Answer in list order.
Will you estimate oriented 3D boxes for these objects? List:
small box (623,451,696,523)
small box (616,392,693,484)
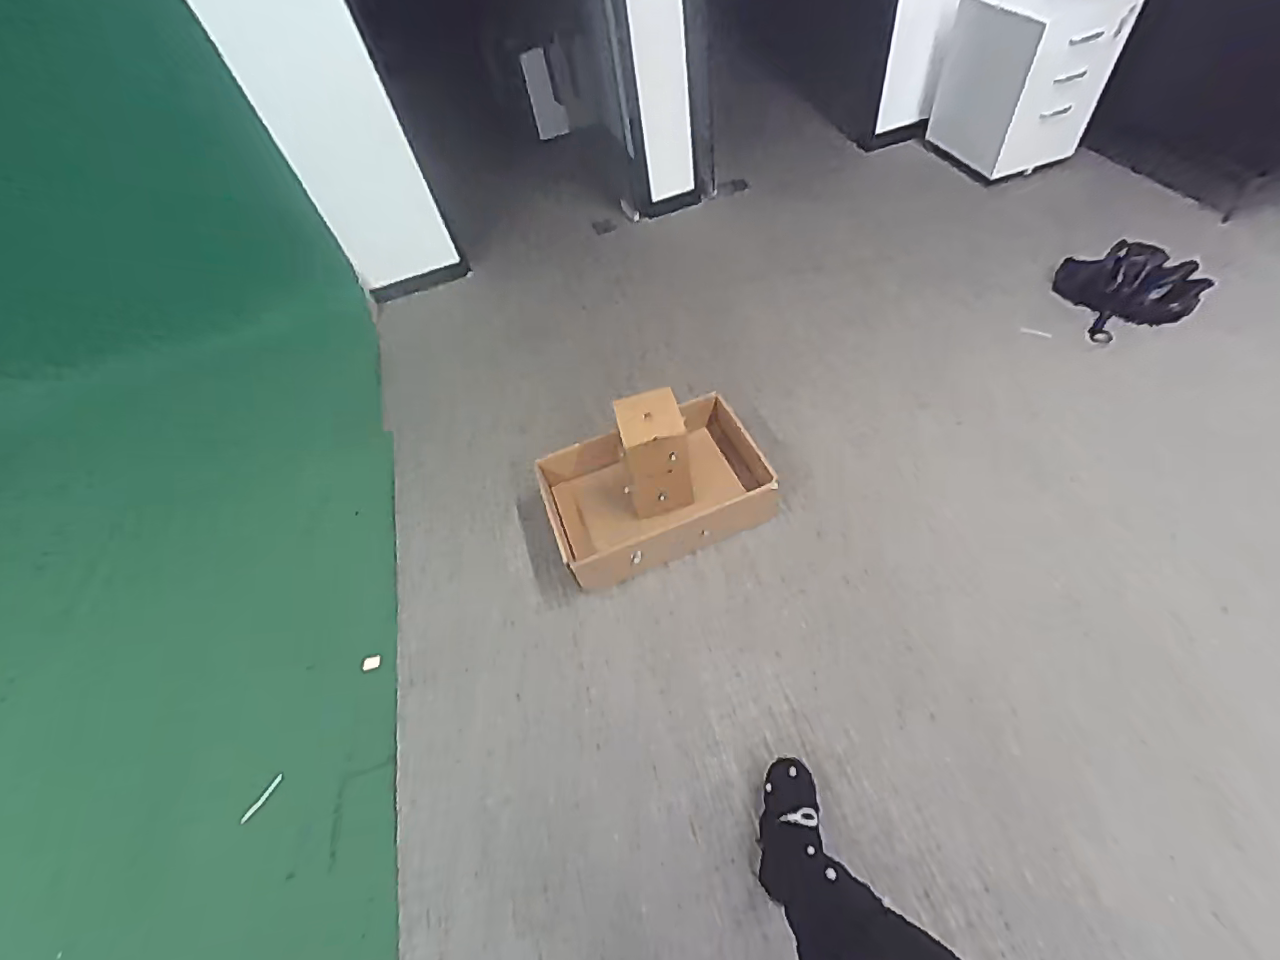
[{"bbox_3d":[0.064,0.003,1.619,0.179,0.176,0.168,-18,51,1],"label":"small box"},{"bbox_3d":[0.042,-0.108,1.481,0.168,0.176,0.179,-15,51,-1],"label":"small box"}]
